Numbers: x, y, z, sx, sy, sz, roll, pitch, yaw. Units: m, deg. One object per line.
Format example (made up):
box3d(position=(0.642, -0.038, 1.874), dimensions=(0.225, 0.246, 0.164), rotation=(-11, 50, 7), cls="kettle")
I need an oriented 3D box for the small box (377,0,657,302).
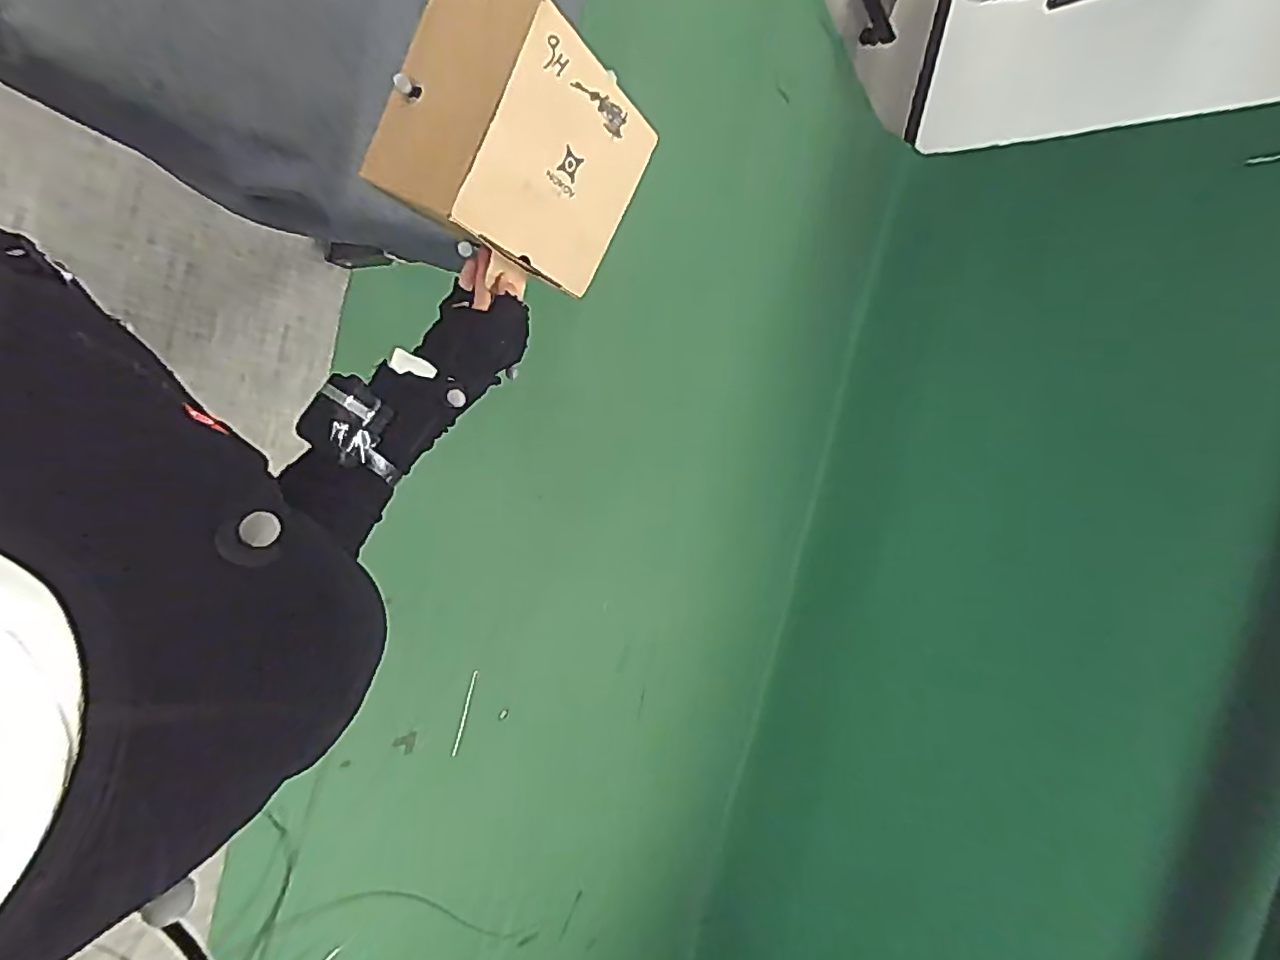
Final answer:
box3d(position=(-0.123, -0.308, 0.522), dimensions=(0.168, 0.176, 0.179), rotation=(12, 110, -57), cls="small box")
